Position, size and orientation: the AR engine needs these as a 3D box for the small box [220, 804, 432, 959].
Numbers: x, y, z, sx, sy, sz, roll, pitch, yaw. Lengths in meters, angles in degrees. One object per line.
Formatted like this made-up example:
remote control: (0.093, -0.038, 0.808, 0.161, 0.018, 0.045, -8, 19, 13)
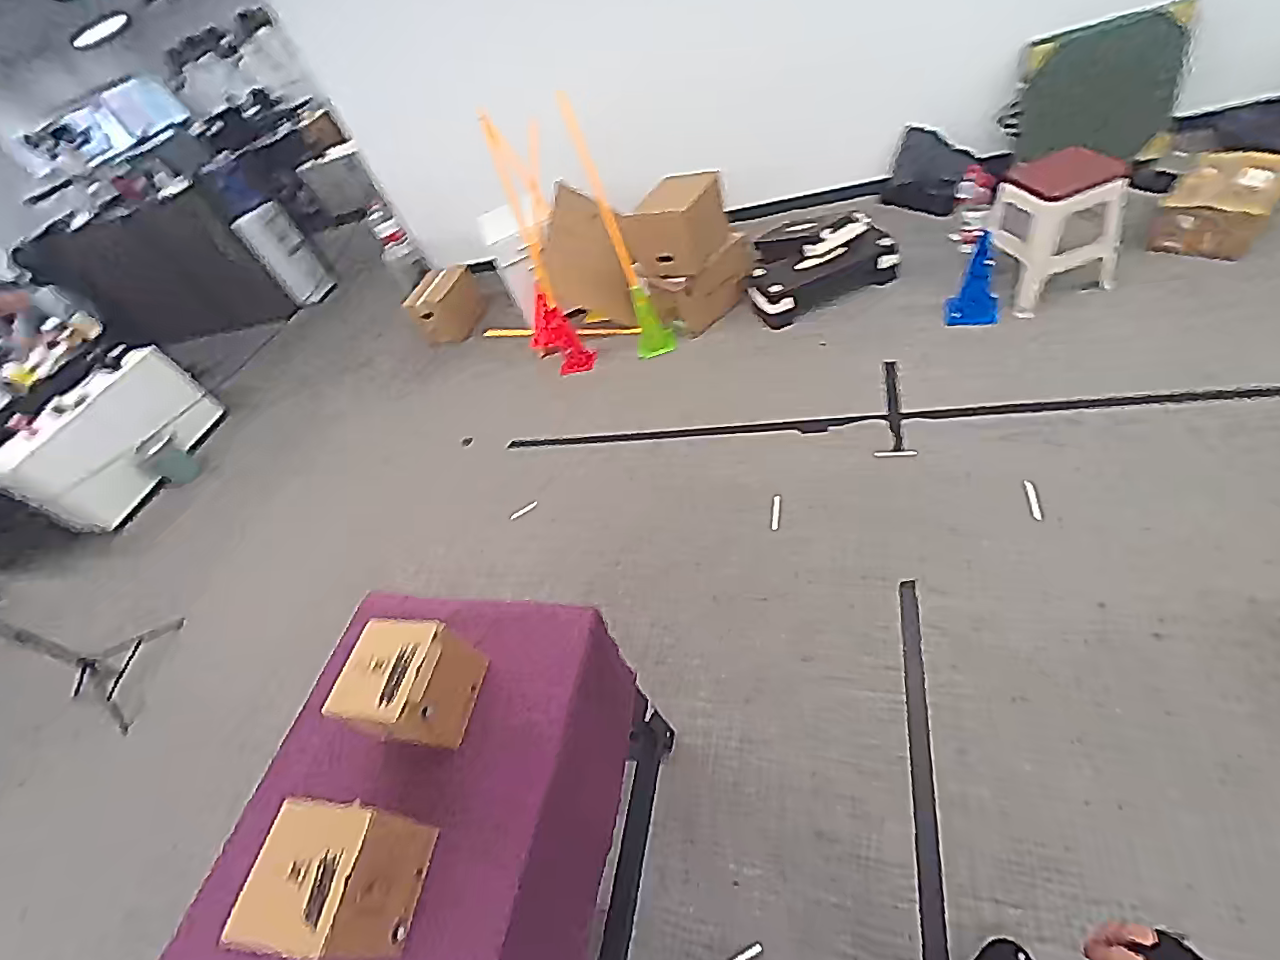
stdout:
small box: (-0.446, 0.597, 0.801, 0.179, 0.176, 0.168, -7, 48, 18)
